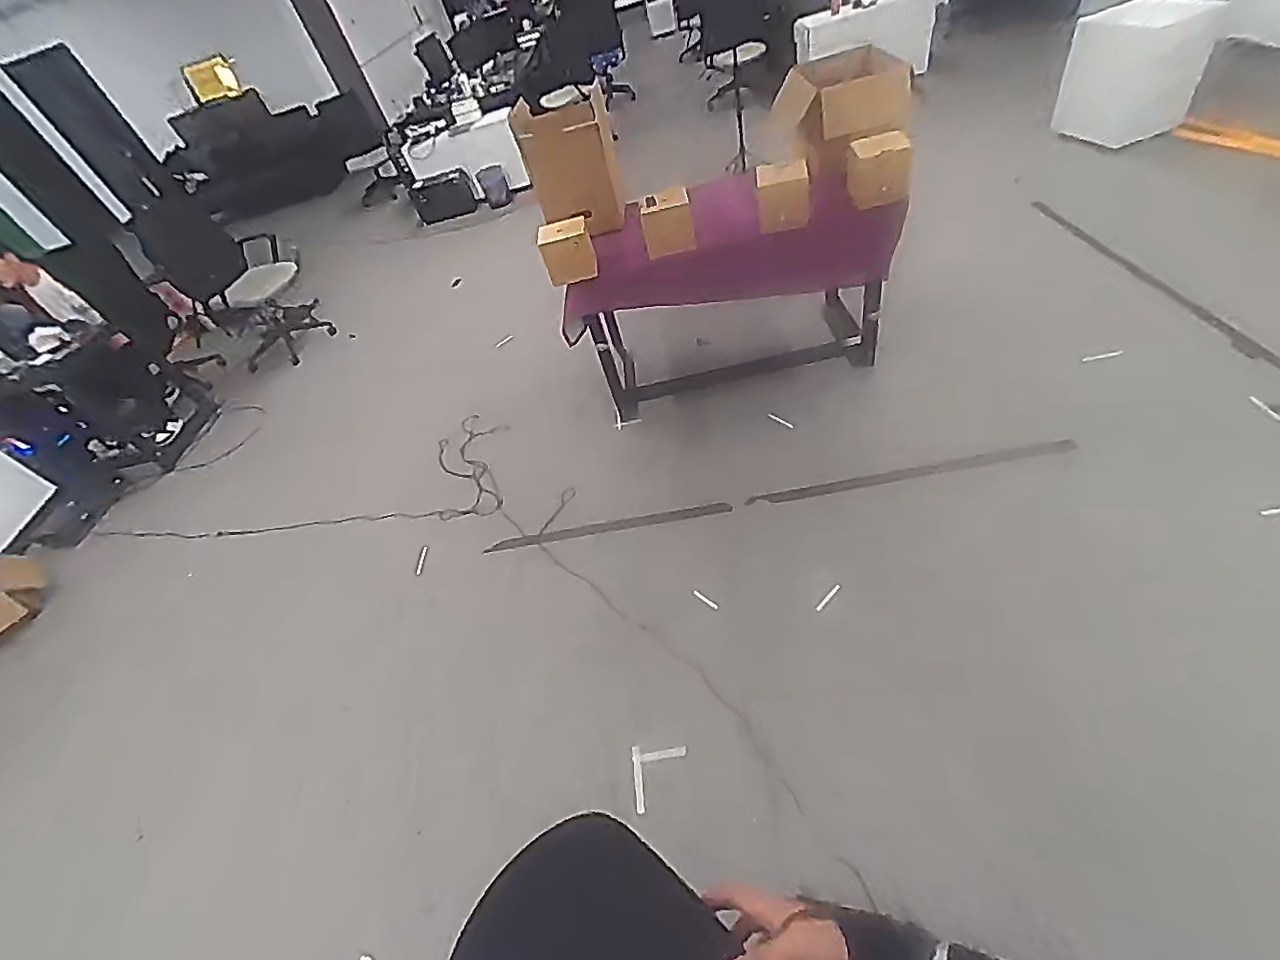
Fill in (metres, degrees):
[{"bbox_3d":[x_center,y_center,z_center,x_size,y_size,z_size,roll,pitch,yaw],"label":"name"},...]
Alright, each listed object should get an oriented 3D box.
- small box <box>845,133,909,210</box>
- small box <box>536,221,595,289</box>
[{"bbox_3d":[0.810,-1.064,1.869,0.168,0.176,0.179,-9,46,12],"label":"small box"},{"bbox_3d":[-0.275,-0.837,2.022,0.179,0.176,0.168,-13,46,5],"label":"small box"}]
